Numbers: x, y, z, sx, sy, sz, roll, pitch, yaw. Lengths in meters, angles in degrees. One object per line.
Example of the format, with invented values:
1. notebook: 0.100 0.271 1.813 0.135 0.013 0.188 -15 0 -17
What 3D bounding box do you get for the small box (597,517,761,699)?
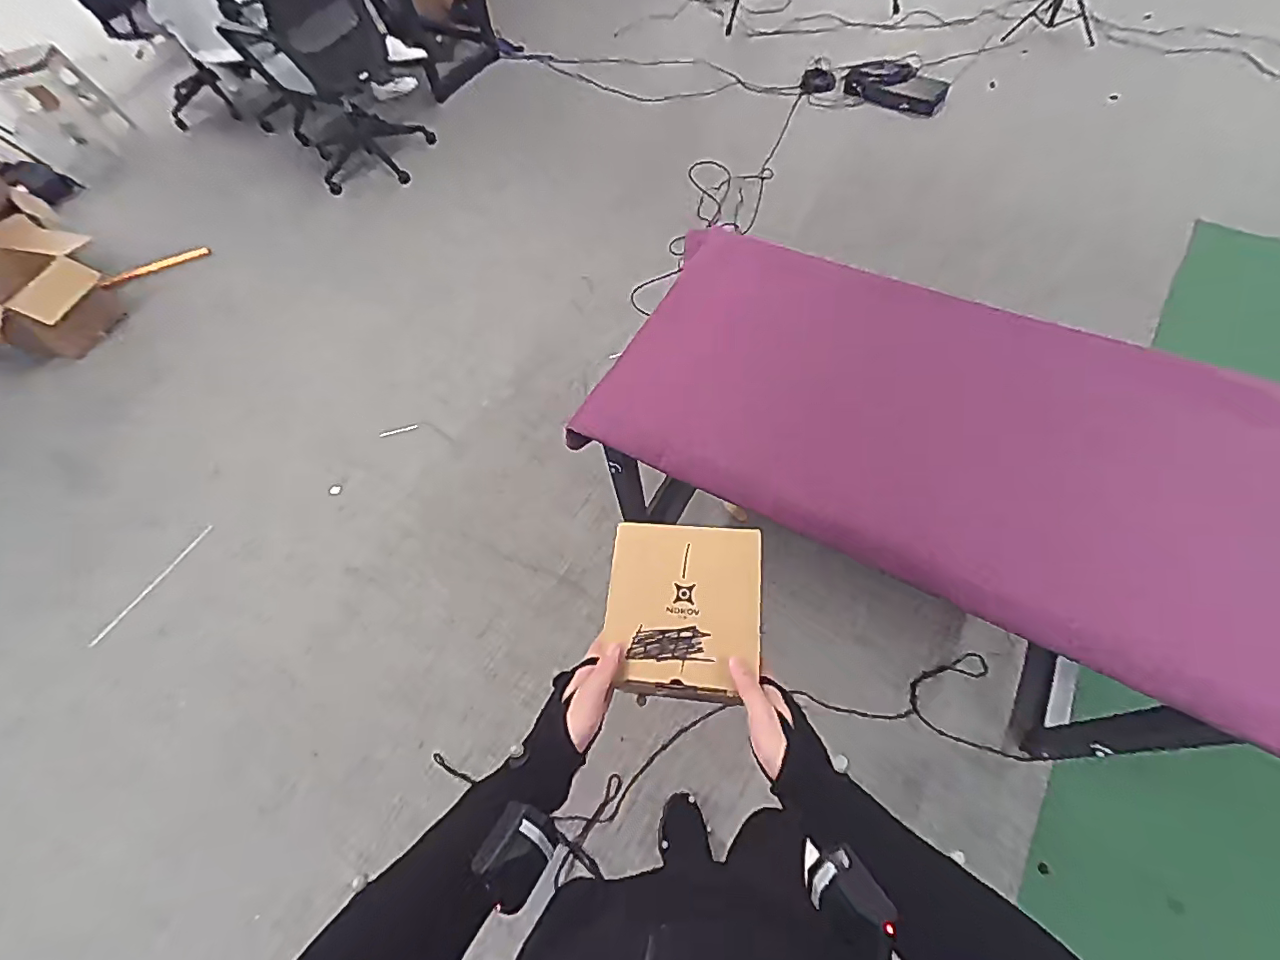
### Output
1. small box: 0.055 0.161 0.654 0.168 0.176 0.179 3 64 9
